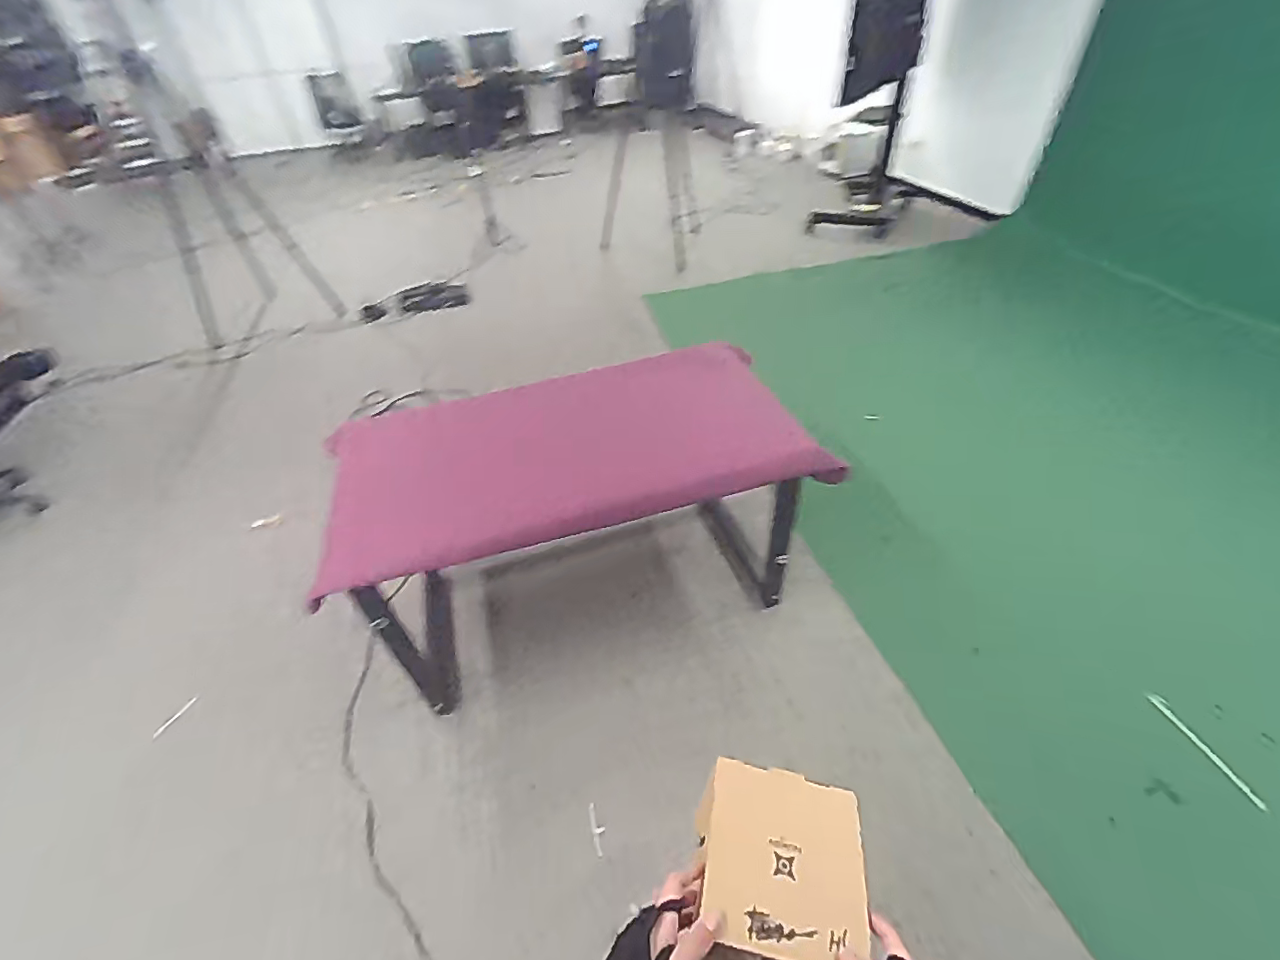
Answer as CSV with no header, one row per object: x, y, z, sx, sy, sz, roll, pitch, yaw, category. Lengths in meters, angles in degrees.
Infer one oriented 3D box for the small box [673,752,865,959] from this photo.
0.136,0.450,0.614,0.168,0.176,0.179,11,39,6,small box
